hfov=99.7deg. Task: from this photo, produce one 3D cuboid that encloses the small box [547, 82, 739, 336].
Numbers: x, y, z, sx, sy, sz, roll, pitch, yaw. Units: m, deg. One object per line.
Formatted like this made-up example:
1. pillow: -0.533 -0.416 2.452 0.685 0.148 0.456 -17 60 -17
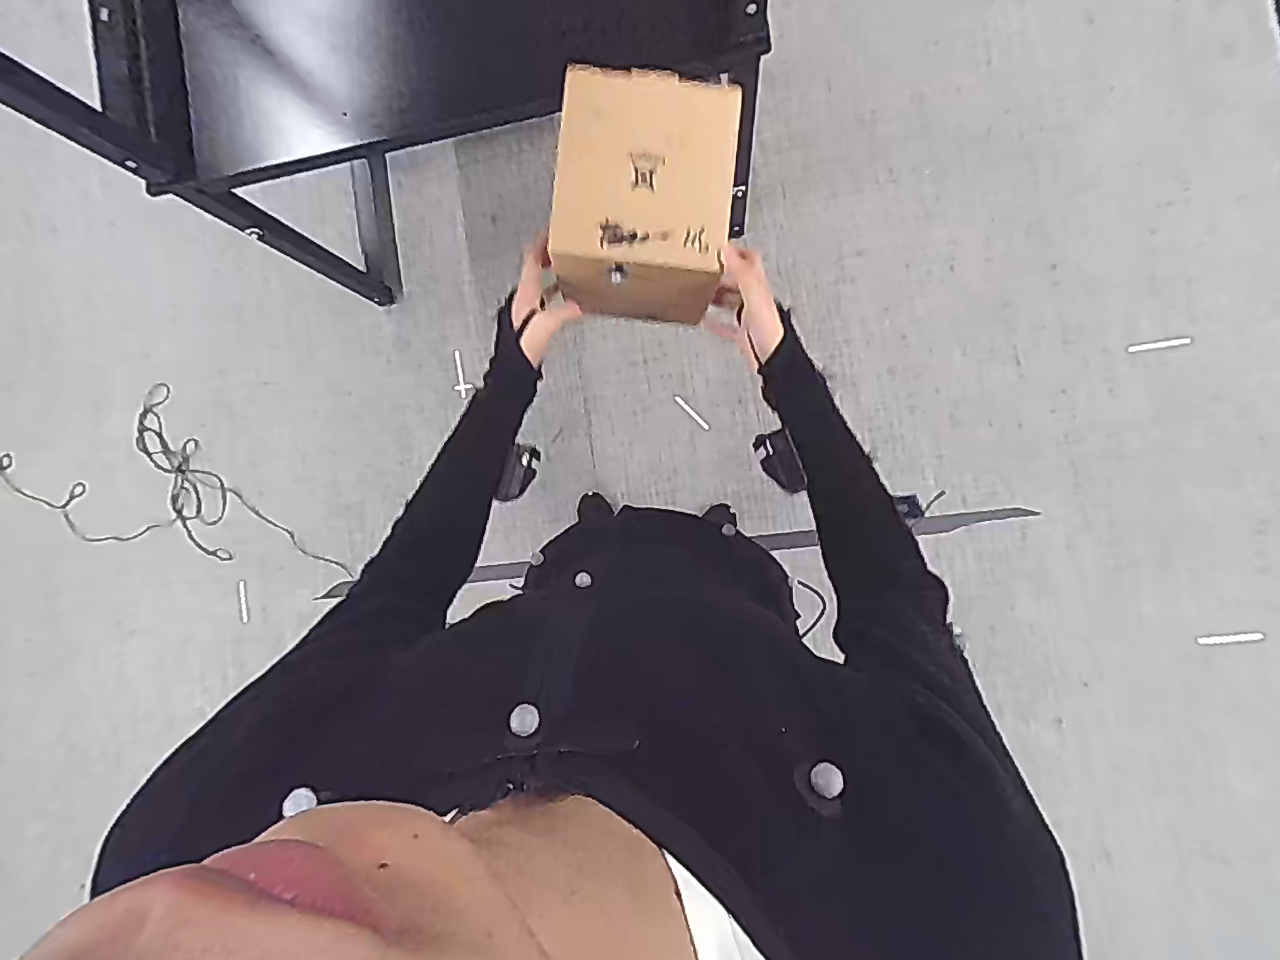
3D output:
1. small box: 0.001 -0.276 0.586 0.168 0.176 0.179 7 87 -1
